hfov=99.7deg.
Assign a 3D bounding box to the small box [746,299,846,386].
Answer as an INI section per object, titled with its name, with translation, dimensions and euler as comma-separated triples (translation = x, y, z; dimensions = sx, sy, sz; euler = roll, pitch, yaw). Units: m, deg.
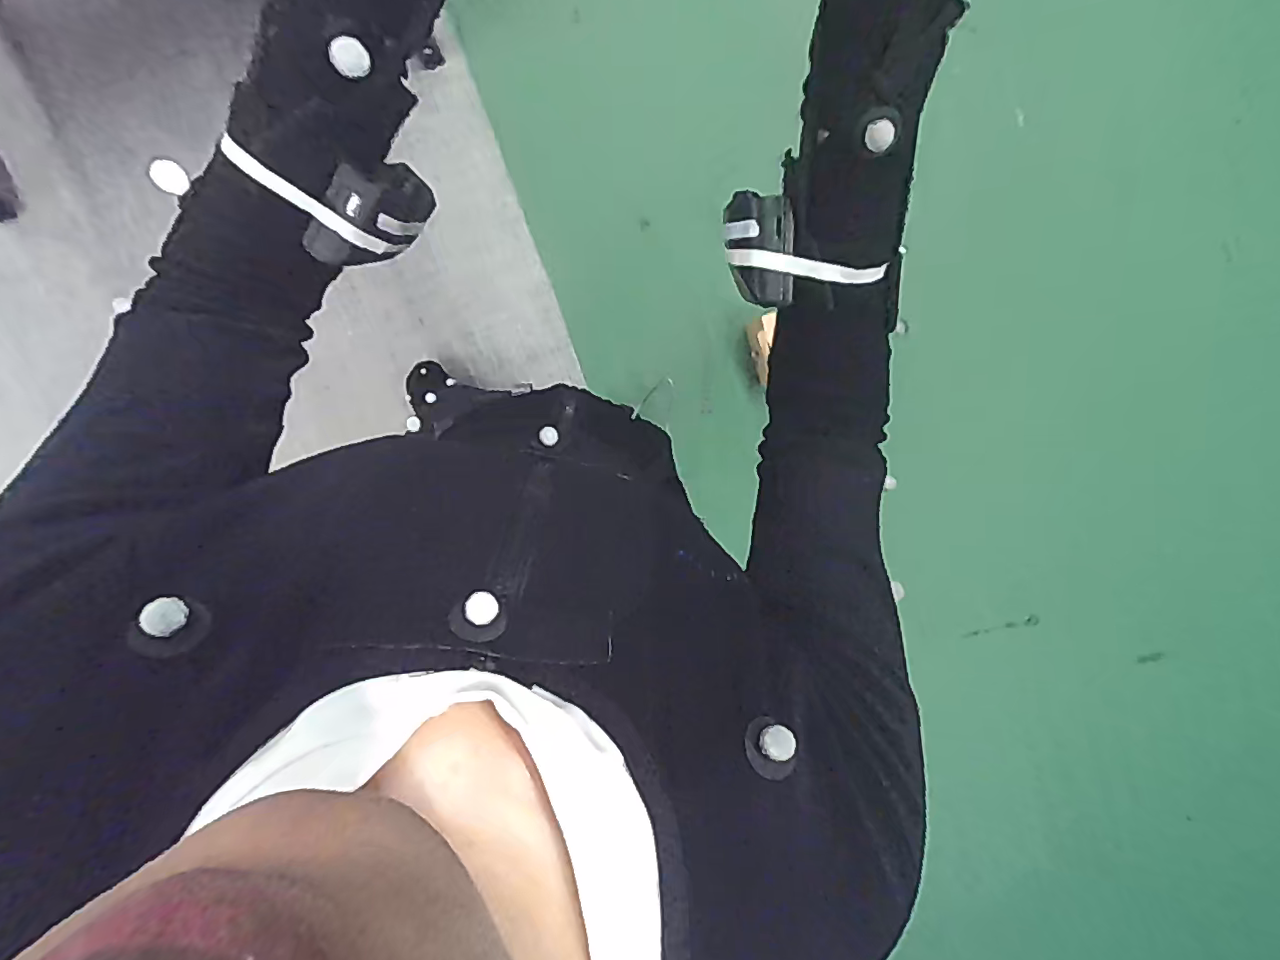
[small box]
translation = 0.382, -0.338, 1.350
dimensions = 0.179, 0.176, 0.168
euler = -17, 100, 1
